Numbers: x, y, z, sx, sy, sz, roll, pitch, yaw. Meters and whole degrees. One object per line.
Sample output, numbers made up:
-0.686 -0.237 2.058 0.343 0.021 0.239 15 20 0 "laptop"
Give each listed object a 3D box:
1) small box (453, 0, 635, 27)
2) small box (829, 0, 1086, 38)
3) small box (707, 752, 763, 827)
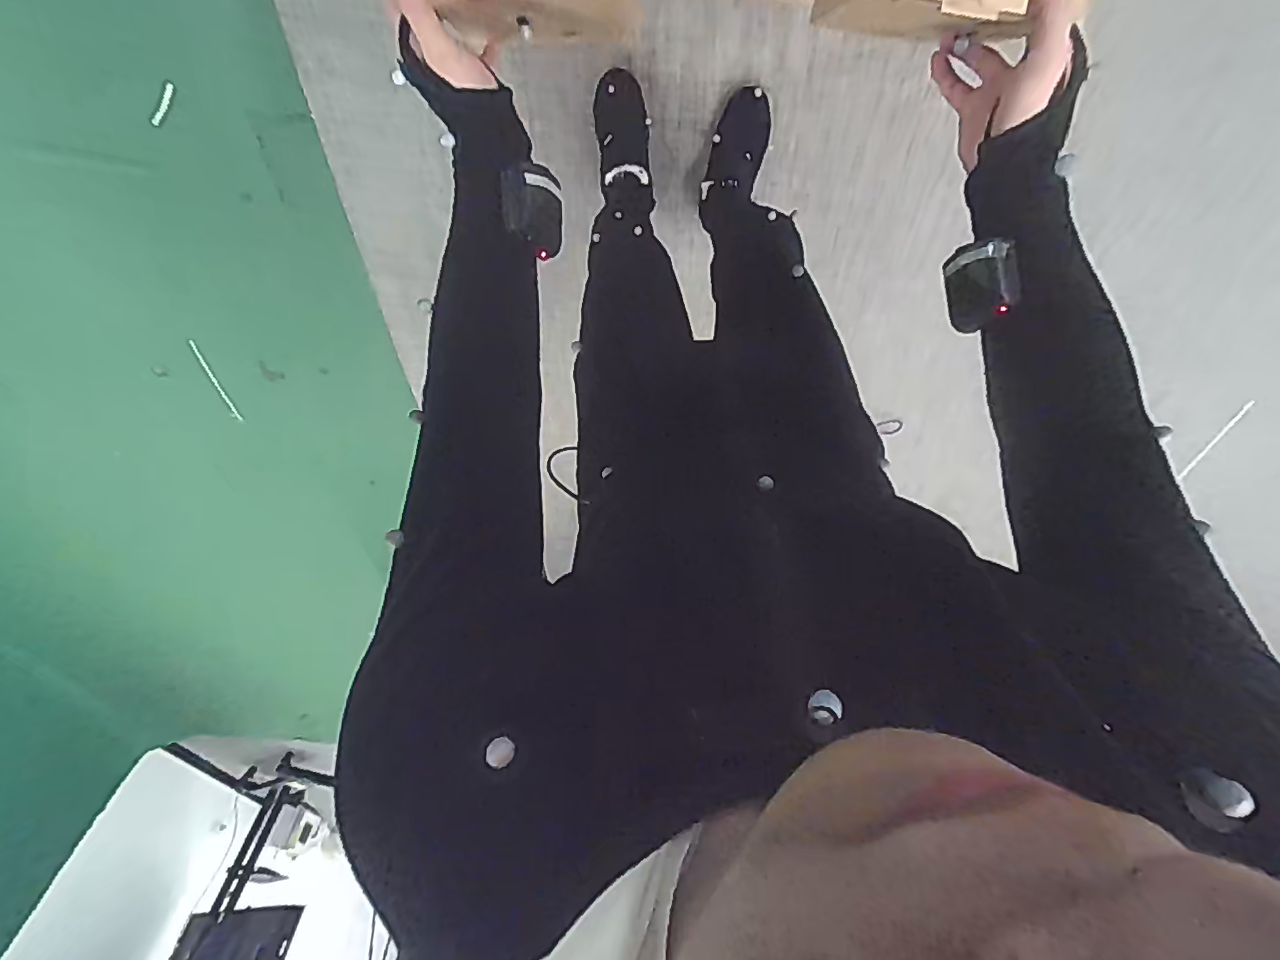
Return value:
-0.088 -0.472 0.401 0.168 0.176 0.179 1 118 2 "small box"
0.254 -0.463 0.408 0.168 0.176 0.179 7 123 -4 "small box"
0.306 1.013 1.769 0.168 0.176 0.179 -1 135 6 "small box"
